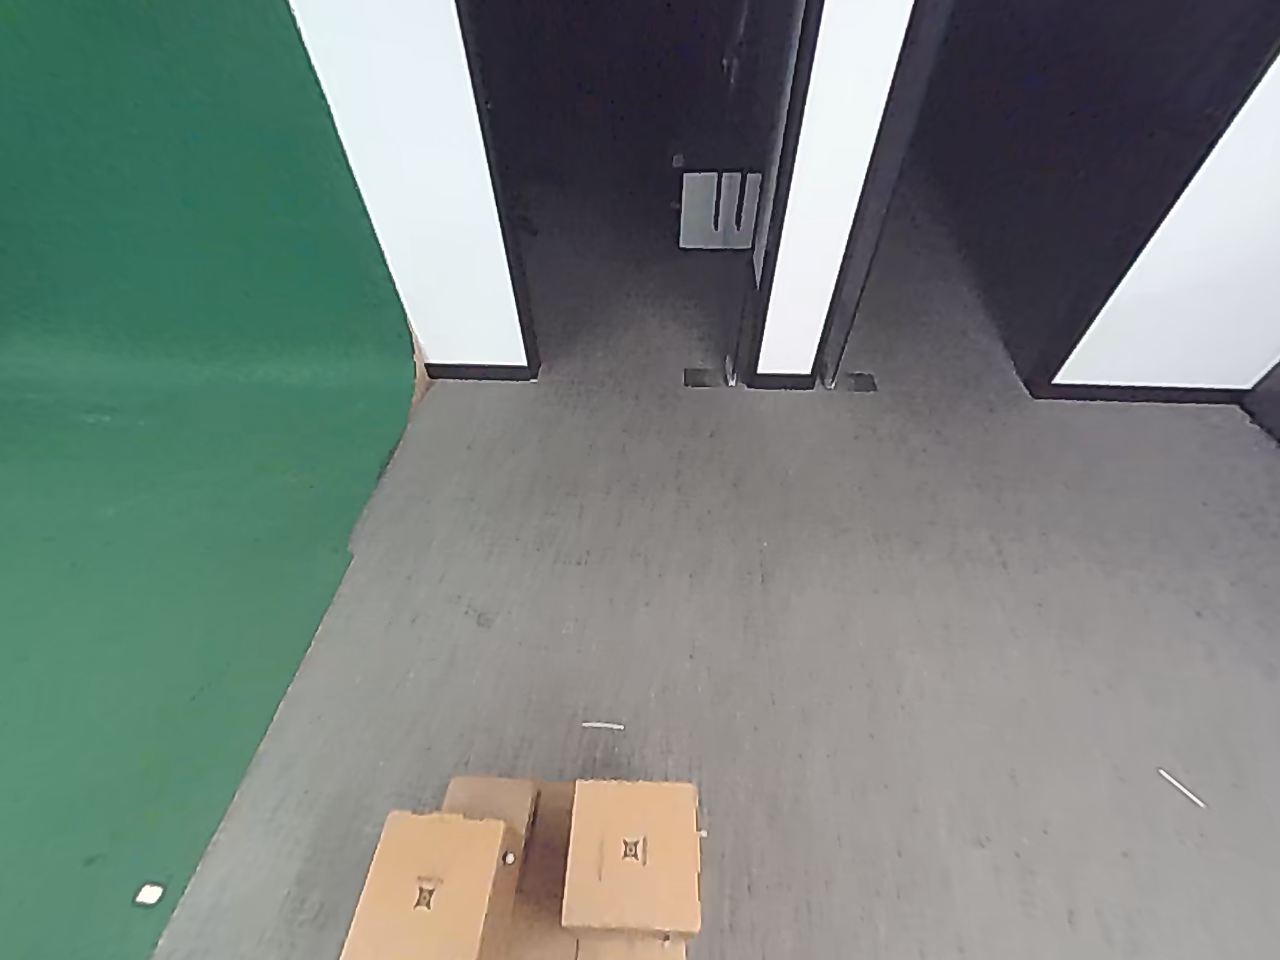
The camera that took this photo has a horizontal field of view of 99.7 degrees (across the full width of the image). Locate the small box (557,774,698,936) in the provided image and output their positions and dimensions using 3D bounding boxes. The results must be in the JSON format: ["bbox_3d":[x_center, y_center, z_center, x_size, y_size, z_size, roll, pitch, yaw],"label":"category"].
[{"bbox_3d":[-0.010,0.540,0.778,0.179,0.176,0.168,1,47,4],"label":"small box"}]

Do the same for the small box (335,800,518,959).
[{"bbox_3d":[-0.277,0.570,0.754,0.168,0.176,0.179,5,49,3],"label":"small box"}]
